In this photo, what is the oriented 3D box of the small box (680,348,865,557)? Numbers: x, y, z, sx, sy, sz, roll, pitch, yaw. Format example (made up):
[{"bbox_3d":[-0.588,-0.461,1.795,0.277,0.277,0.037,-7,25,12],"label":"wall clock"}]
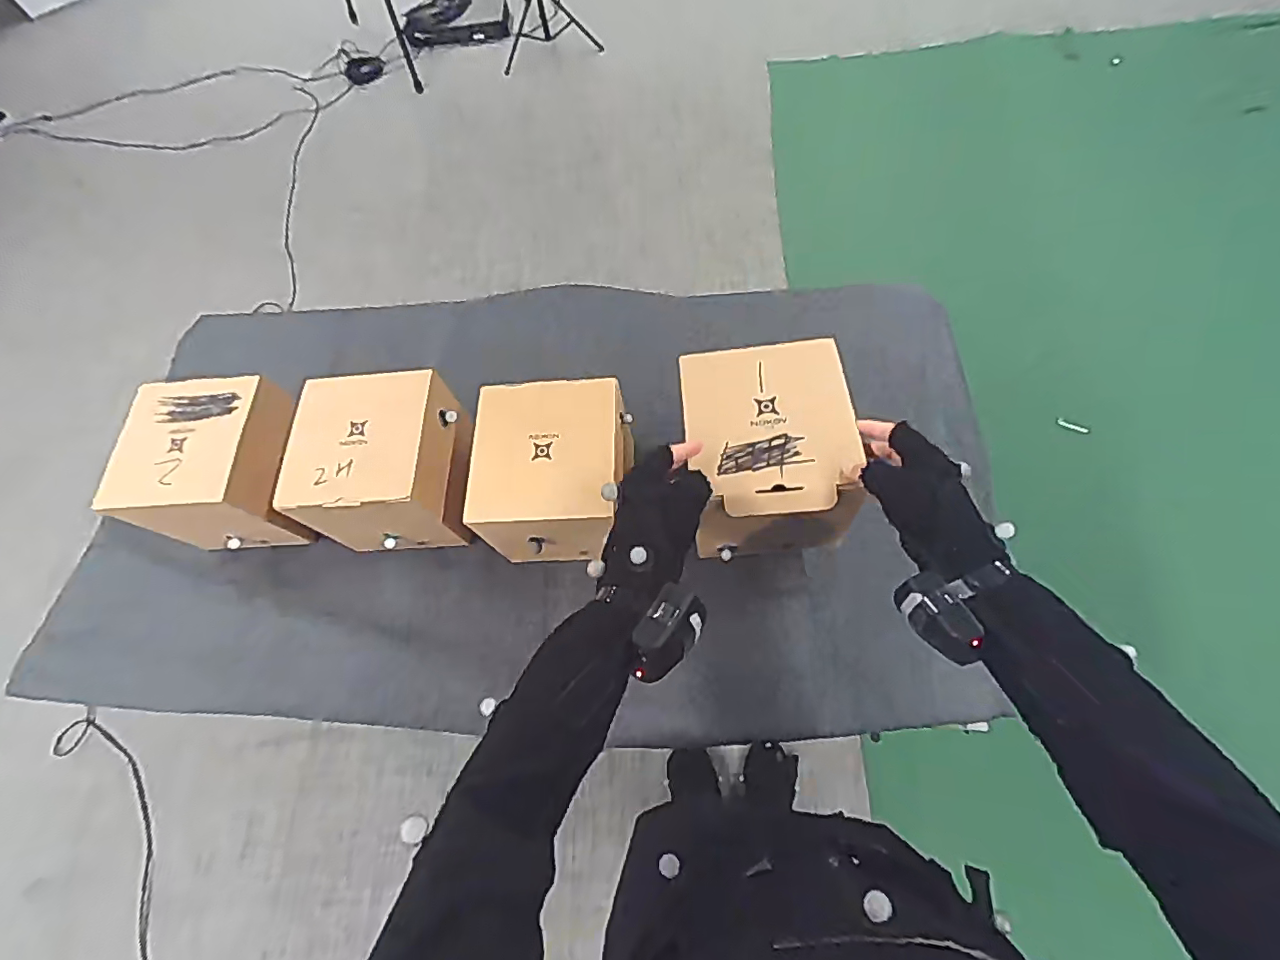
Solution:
[{"bbox_3d":[0.137,-0.019,0.610,0.168,0.176,0.179,-5,61,6],"label":"small box"}]

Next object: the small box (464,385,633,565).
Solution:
[{"bbox_3d":[-0.099,0.004,0.675,0.168,0.176,0.179,-3,65,5],"label":"small box"}]

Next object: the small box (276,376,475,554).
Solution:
[{"bbox_3d":[-0.321,-0.013,0.705,0.168,0.176,0.179,-3,65,5],"label":"small box"}]
